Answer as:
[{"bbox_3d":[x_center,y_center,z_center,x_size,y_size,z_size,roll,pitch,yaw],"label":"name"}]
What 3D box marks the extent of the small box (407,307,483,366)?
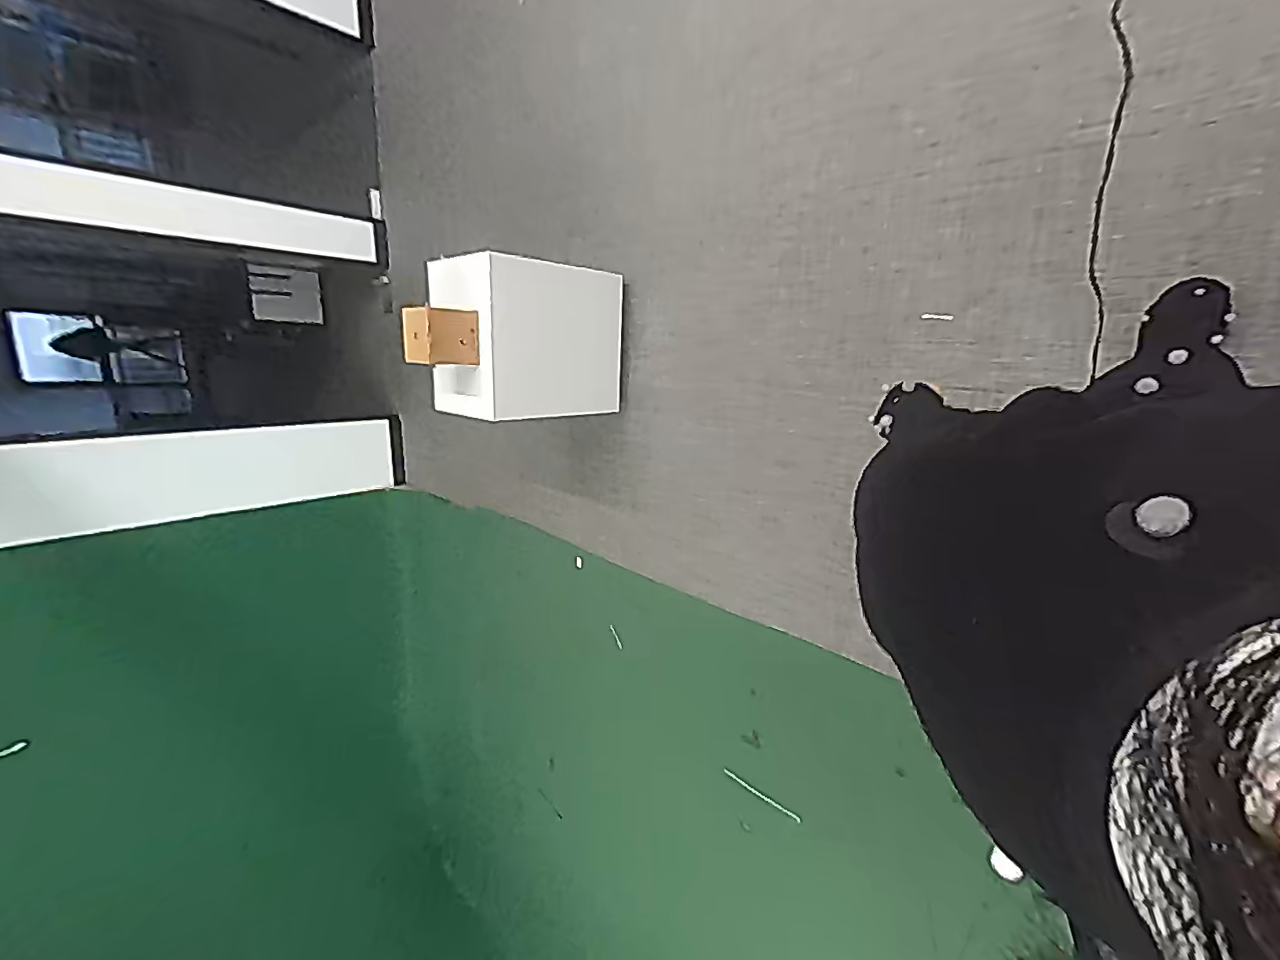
[{"bbox_3d":[-0.610,-0.447,1.693,0.179,0.176,0.168,14,108,43],"label":"small box"}]
